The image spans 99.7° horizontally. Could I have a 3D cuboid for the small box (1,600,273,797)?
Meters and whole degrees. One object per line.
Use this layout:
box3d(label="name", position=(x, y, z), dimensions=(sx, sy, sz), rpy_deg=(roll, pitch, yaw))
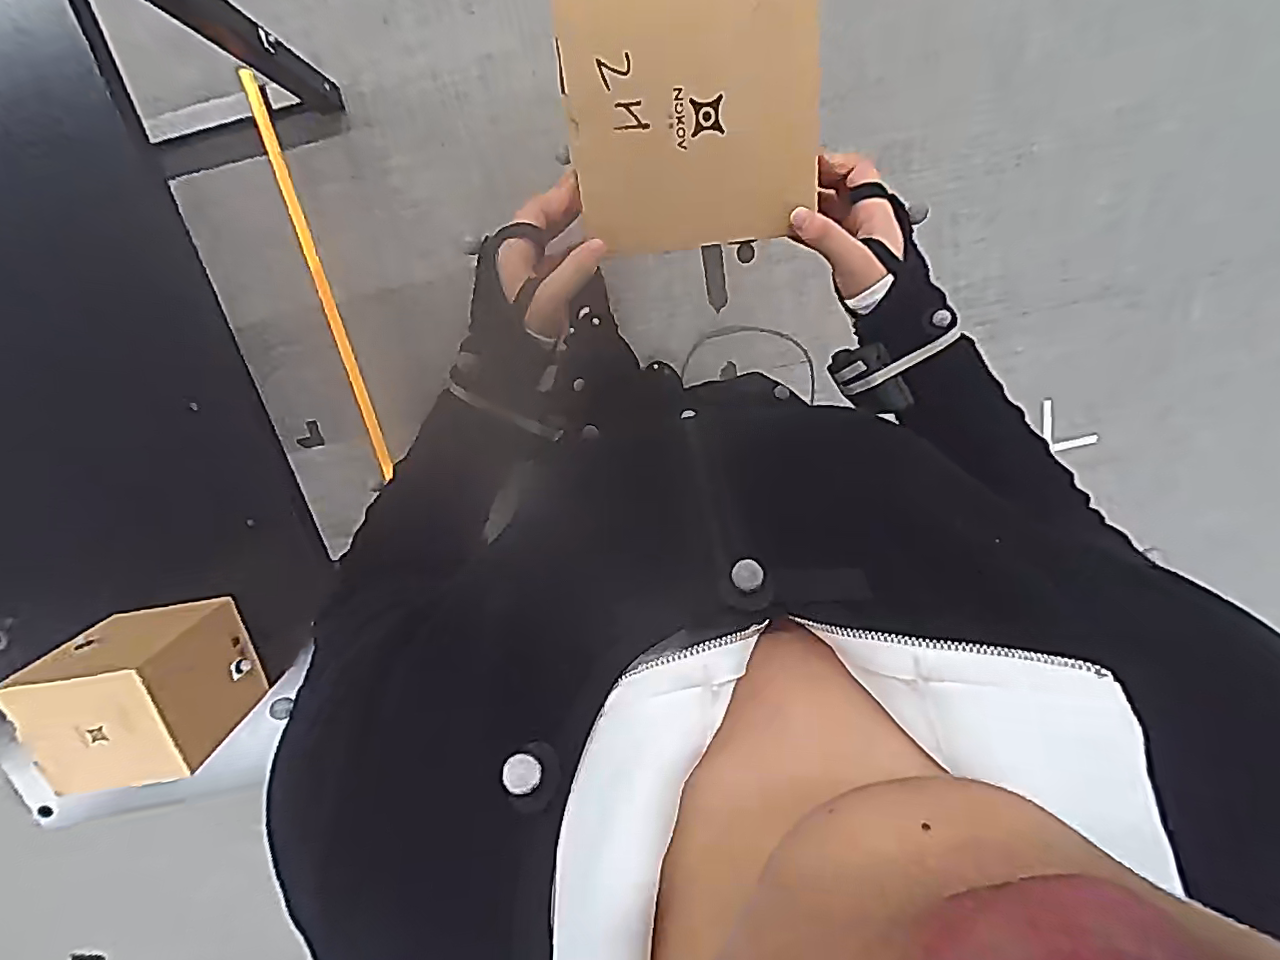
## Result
box3d(label="small box", position=(-0.650, 0.282, 0.726), dimensions=(0.179, 0.176, 0.168), rpy_deg=(-10, 108, 0))

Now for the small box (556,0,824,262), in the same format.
box3d(label="small box", position=(0.035, -0.280, 0.445), dimensions=(0.179, 0.176, 0.168), rpy_deg=(-8, 114, 0))
